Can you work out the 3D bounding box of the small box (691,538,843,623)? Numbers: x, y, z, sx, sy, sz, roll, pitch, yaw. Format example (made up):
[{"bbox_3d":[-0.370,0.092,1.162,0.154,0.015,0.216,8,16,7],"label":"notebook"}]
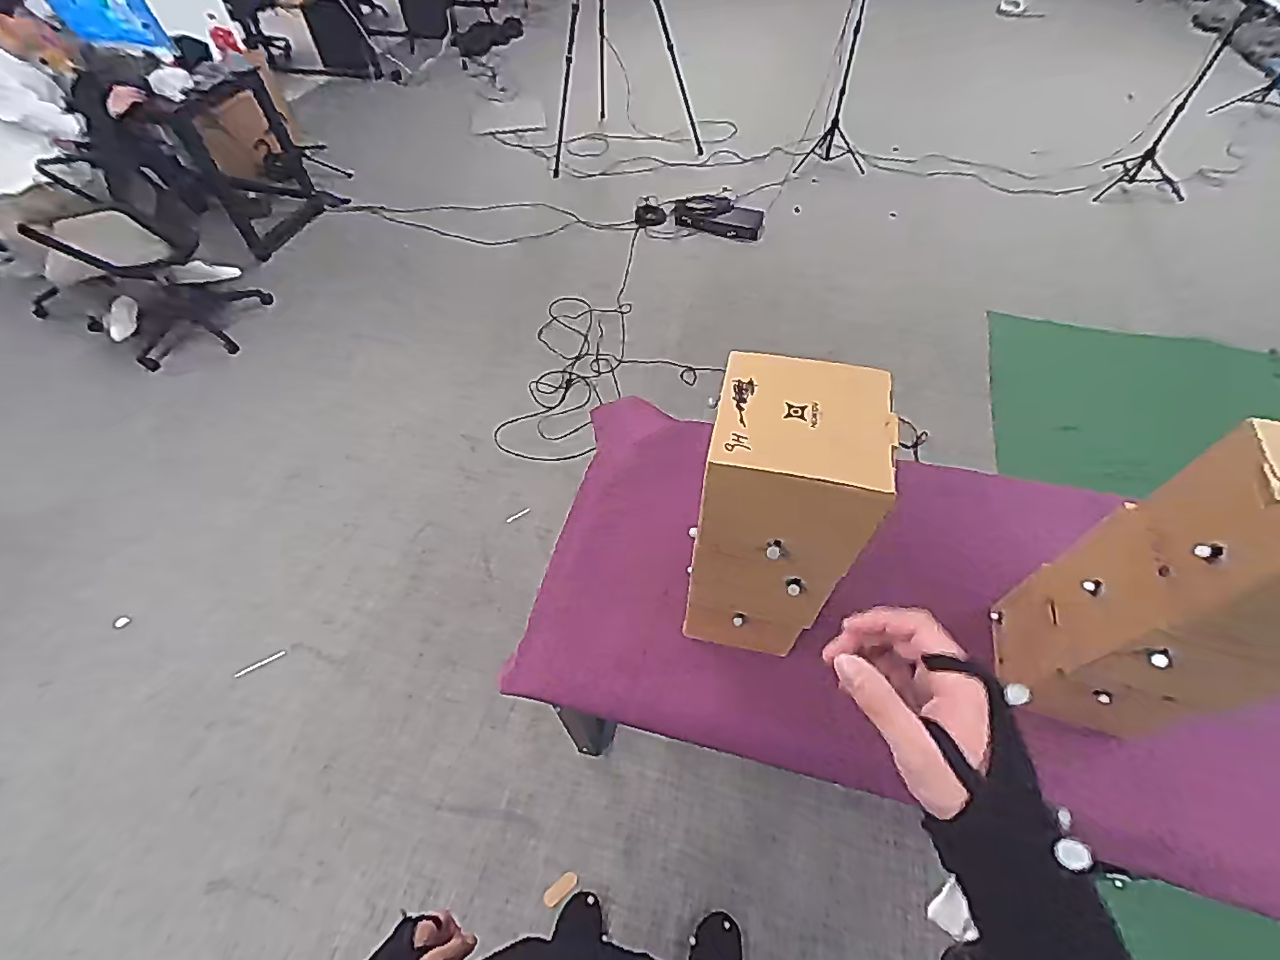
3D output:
[{"bbox_3d":[0.173,0.081,0.749,0.179,0.176,0.168,10,54,11],"label":"small box"}]

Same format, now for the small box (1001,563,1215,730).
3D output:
[{"bbox_3d":[0.664,0.250,0.801,0.179,0.176,0.168,13,55,12],"label":"small box"}]

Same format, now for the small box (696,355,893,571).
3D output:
[{"bbox_3d":[0.167,-0.014,0.615,0.179,0.176,0.168,10,54,10],"label":"small box"}]

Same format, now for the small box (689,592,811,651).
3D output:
[{"bbox_3d":[0.181,0.167,0.890,0.179,0.176,0.168,9,55,10],"label":"small box"}]

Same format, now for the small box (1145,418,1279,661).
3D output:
[{"bbox_3d":[0.648,0.069,0.529,0.179,0.176,0.168,15,56,13],"label":"small box"}]
